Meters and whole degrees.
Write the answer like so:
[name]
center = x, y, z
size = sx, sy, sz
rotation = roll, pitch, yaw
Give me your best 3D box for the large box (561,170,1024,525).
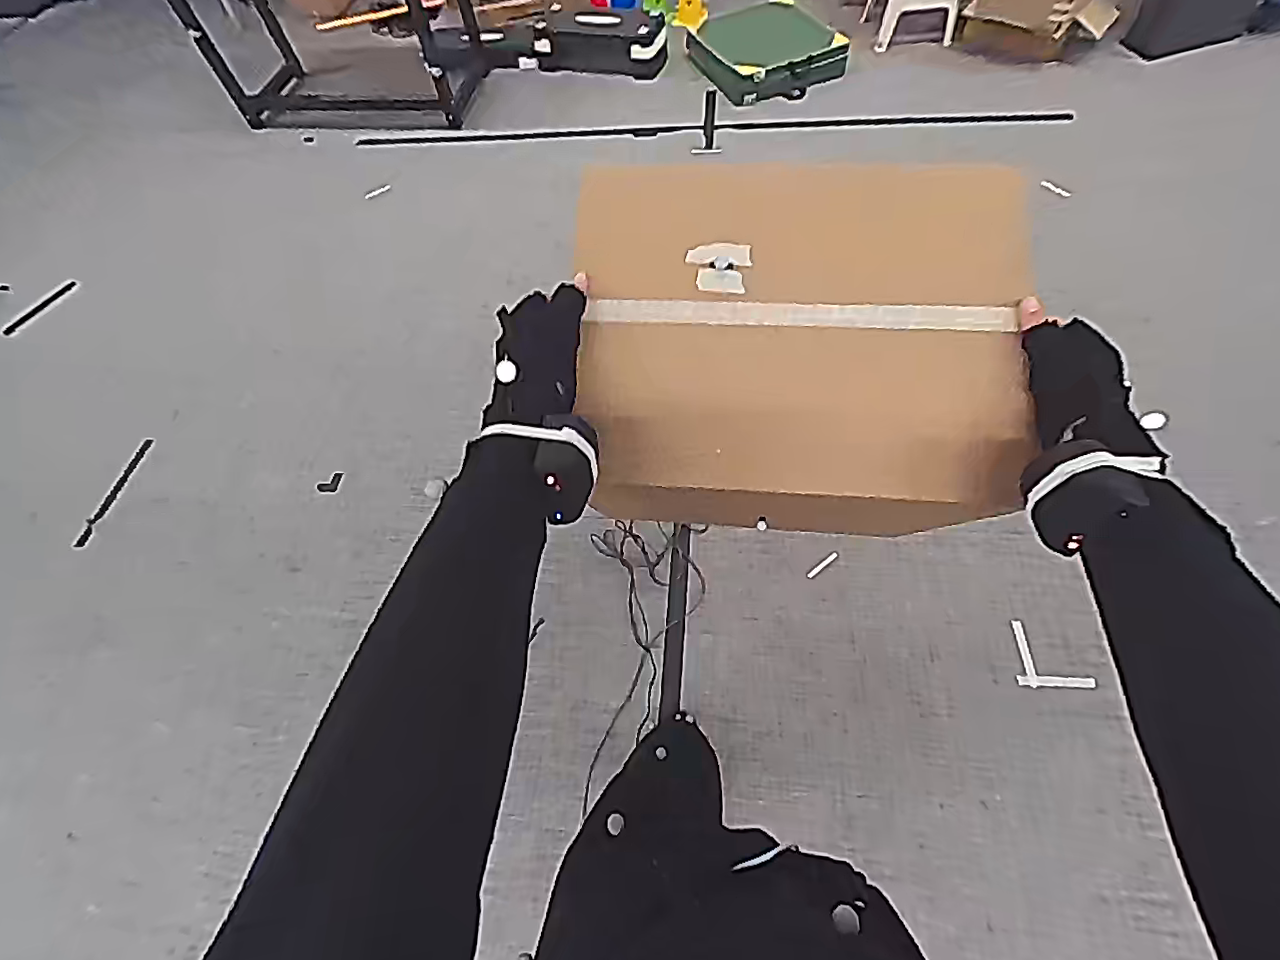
[large box]
center = 0.151, -0.119, 0.642
size = 0.408, 0.320, 0.320
rotation = 3, 79, 7
